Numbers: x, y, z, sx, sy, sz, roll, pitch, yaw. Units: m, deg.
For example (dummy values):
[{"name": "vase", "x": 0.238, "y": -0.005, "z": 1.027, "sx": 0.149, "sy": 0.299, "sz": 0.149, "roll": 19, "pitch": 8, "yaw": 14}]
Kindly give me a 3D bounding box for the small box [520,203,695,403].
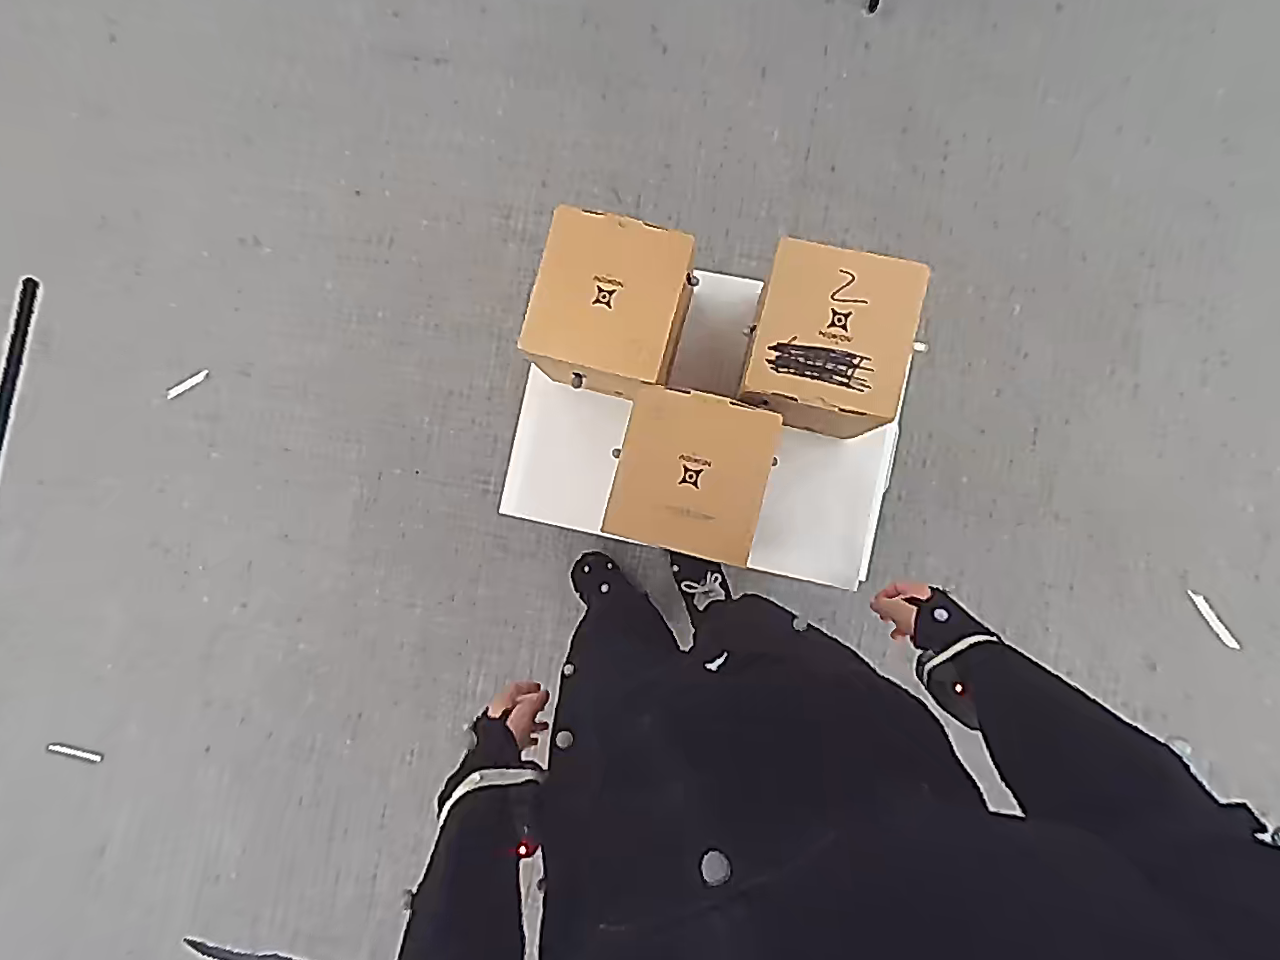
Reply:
[{"name": "small box", "x": -0.031, "y": -0.208, "z": 0.684, "sx": 0.168, "sy": 0.176, "sz": 0.179, "roll": 15, "pitch": 89, "yaw": 5}]
